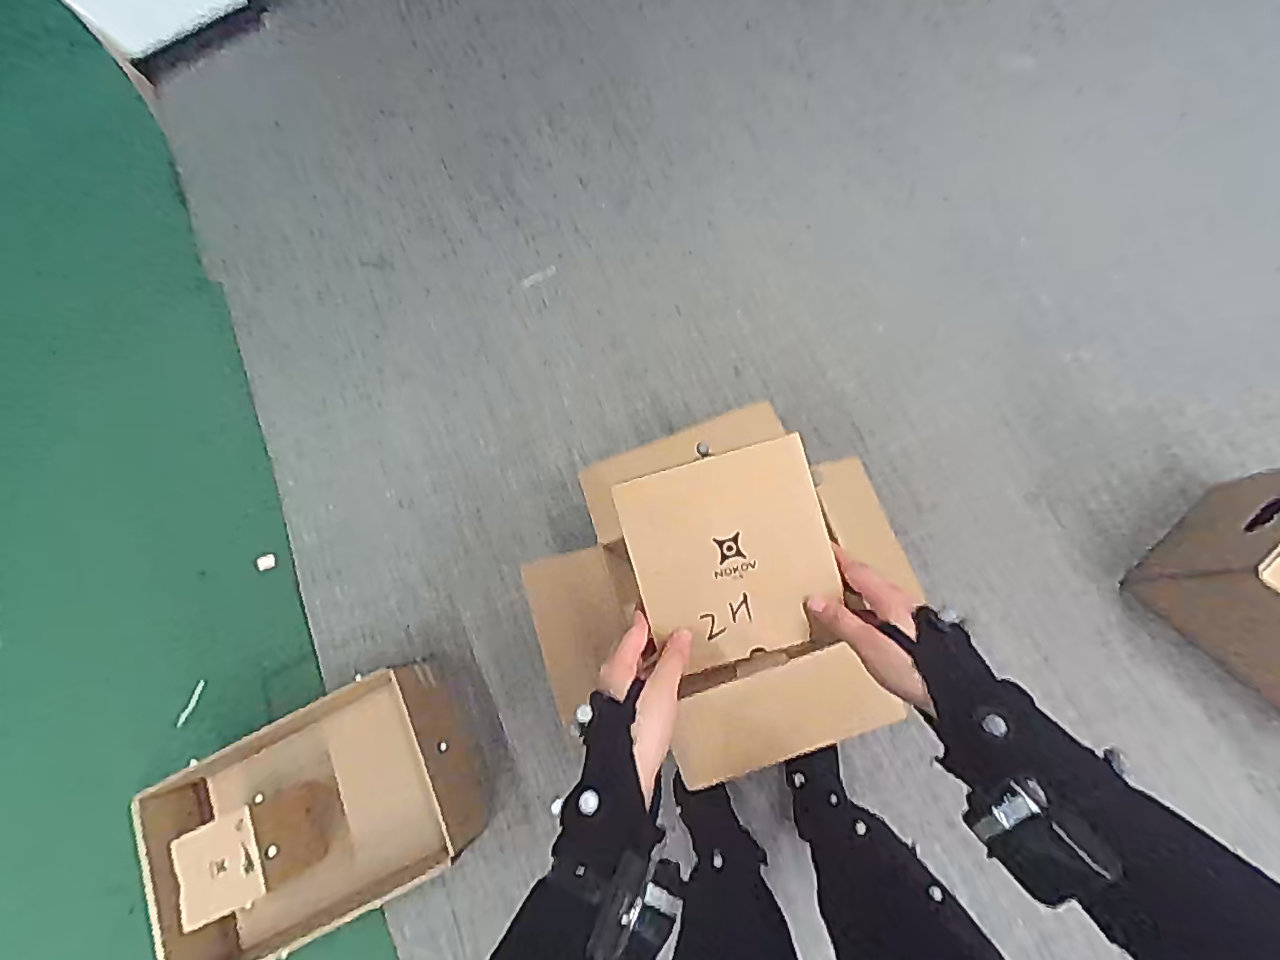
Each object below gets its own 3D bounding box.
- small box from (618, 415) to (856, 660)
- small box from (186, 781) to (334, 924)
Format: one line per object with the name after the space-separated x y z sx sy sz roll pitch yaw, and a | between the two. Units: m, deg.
0.086 0.048 0.533 0.168 0.176 0.179 -16 91 6 | small box
-0.785 0.762 1.127 0.179 0.176 0.168 -26 73 1 | small box
